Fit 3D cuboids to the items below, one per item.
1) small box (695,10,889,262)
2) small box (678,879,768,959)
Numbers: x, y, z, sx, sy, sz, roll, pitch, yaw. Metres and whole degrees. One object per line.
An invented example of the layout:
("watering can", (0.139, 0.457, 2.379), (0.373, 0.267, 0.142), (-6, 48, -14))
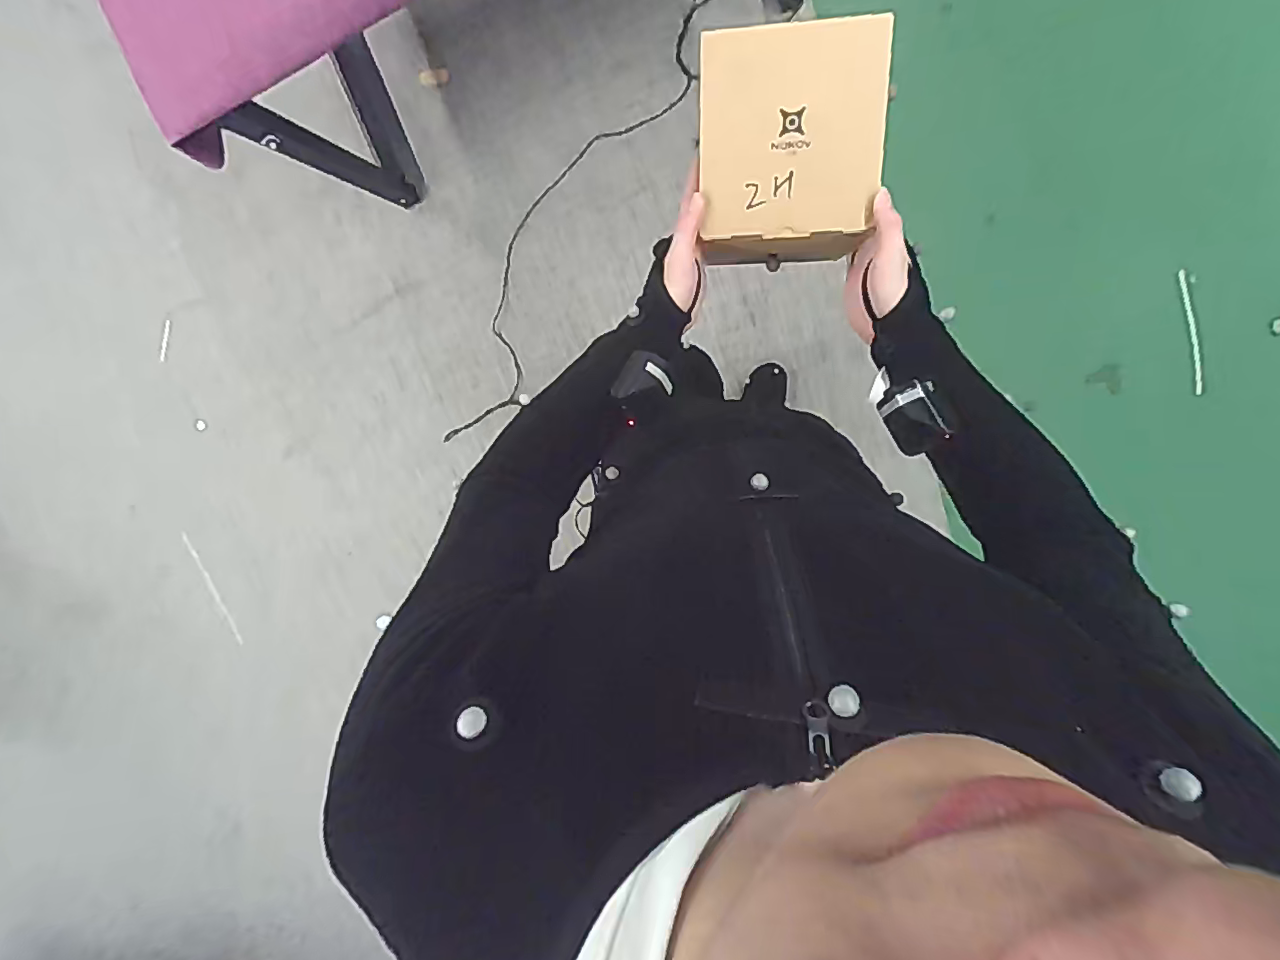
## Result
("small box", (0.144, -0.337, 0.568), (0.168, 0.176, 0.179), (2, 103, 8))
("small box", (0.185, 1.013, 1.181), (0.168, 0.176, 0.179), (-11, 101, 13))
